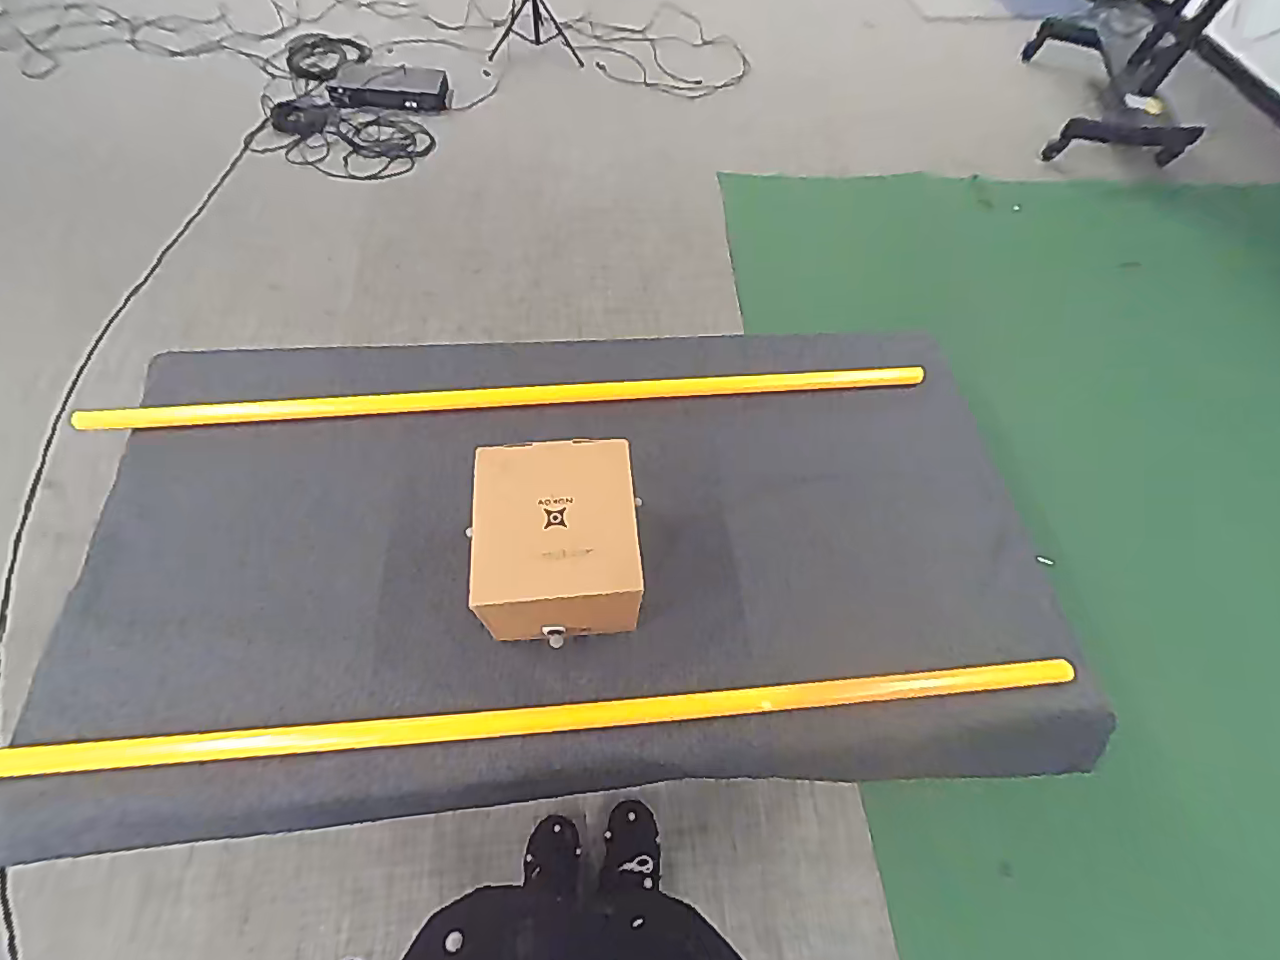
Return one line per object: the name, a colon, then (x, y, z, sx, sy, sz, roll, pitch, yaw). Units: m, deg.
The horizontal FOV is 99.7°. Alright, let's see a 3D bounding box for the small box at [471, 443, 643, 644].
small box: (-0.092, 0.077, 0.623, 0.168, 0.176, 0.179, -5, 62, -6)
